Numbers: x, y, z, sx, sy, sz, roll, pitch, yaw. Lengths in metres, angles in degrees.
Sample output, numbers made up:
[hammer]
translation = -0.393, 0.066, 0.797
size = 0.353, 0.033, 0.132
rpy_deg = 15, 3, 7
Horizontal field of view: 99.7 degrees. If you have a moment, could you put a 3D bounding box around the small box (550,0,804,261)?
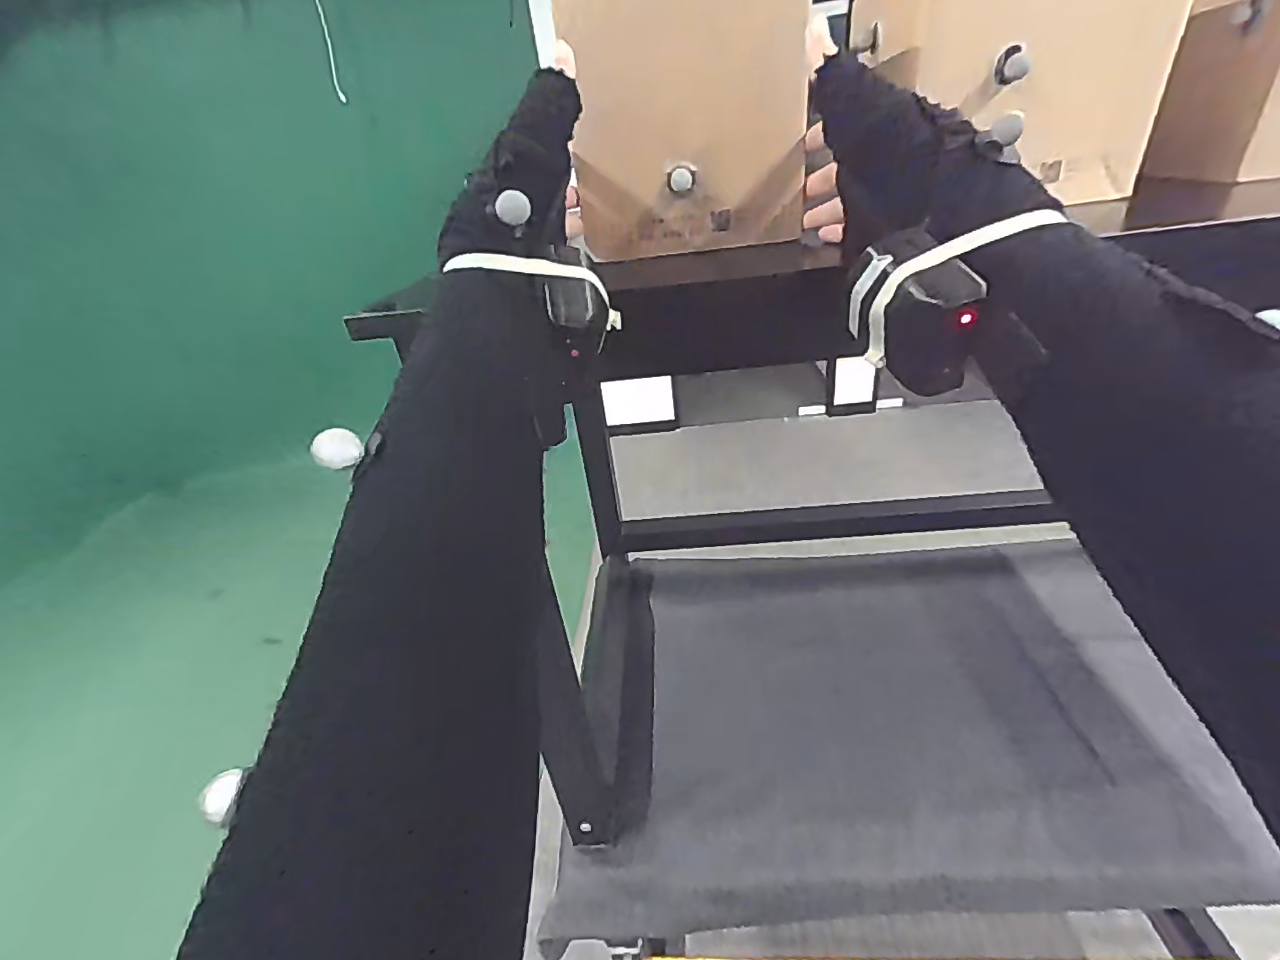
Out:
[small box]
translation = 0.032, -0.288, 0.454
size = 0.168, 0.176, 0.179
rpy_deg = -5, 32, 4
